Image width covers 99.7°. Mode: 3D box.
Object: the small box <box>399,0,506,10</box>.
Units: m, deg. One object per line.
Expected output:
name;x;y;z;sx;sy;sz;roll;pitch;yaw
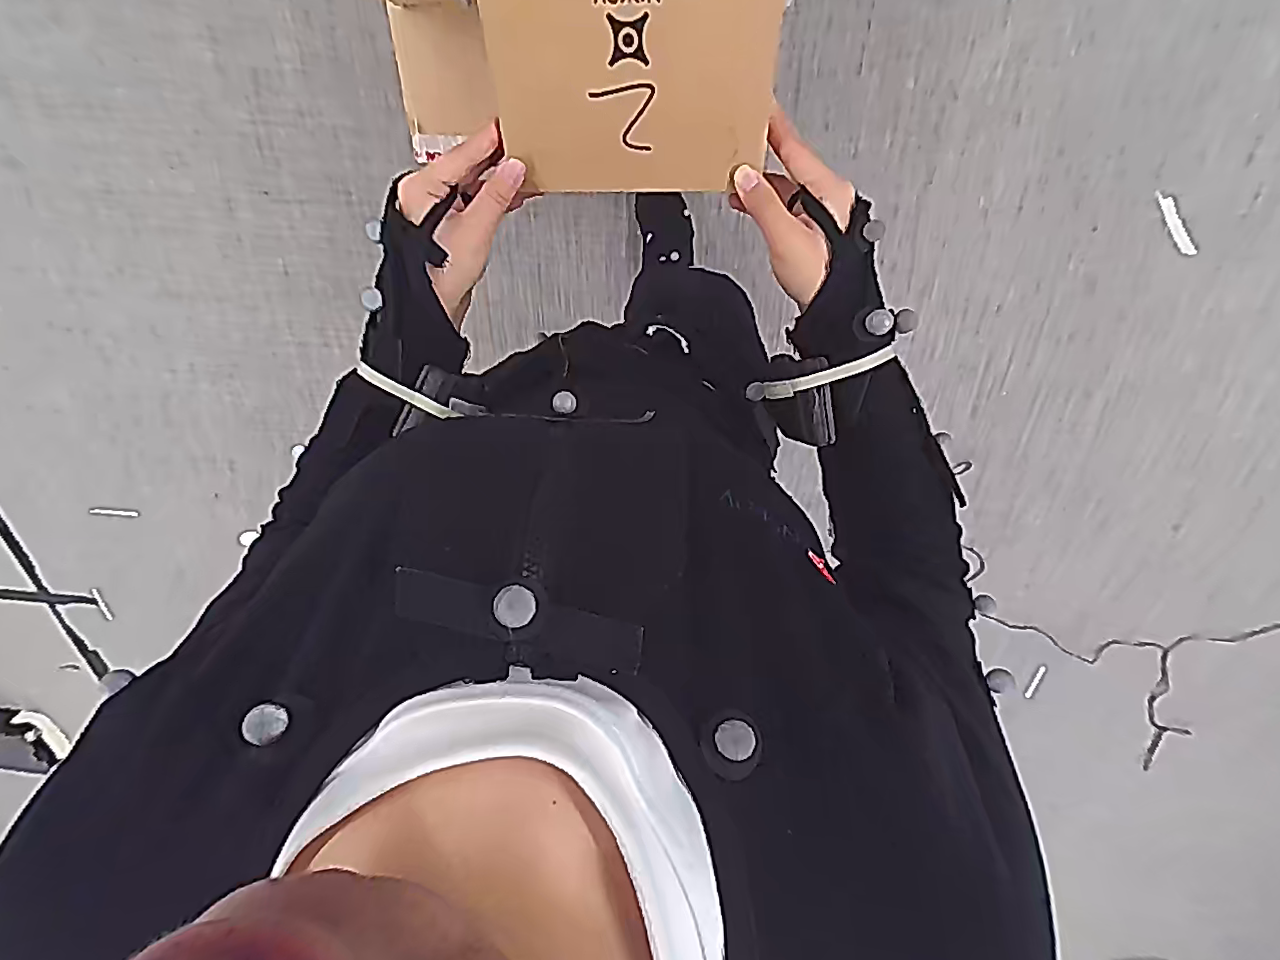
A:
small box;-0.211;-0.588;0.525;0.179;0.176;0.168;2;120;7
